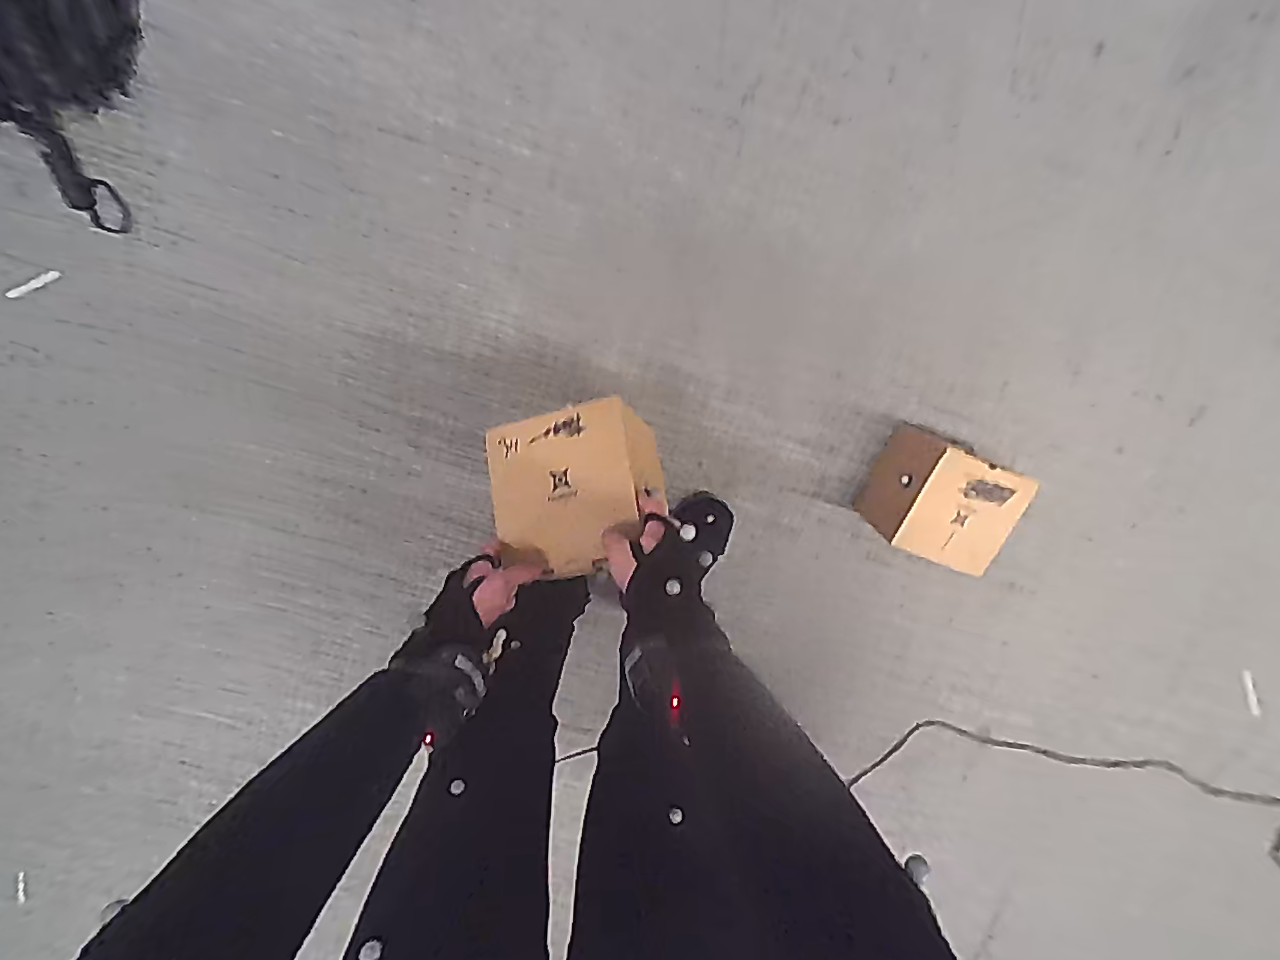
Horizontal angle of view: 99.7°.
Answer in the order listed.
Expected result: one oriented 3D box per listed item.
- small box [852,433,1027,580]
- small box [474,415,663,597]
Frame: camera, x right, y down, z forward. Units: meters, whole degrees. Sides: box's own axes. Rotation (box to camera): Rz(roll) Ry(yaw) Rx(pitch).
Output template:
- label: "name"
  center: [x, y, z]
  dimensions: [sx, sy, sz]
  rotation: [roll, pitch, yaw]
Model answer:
- label: "small box"
  center: [0.493, 0.036, 0.924]
  dimensions: [0.168, 0.176, 0.179]
  rotation: [19, 108, -5]
- label: "small box"
  center: [-0.079, 0.038, 0.673]
  dimensions: [0.168, 0.176, 0.179]
  rotation: [-14, 79, 13]
